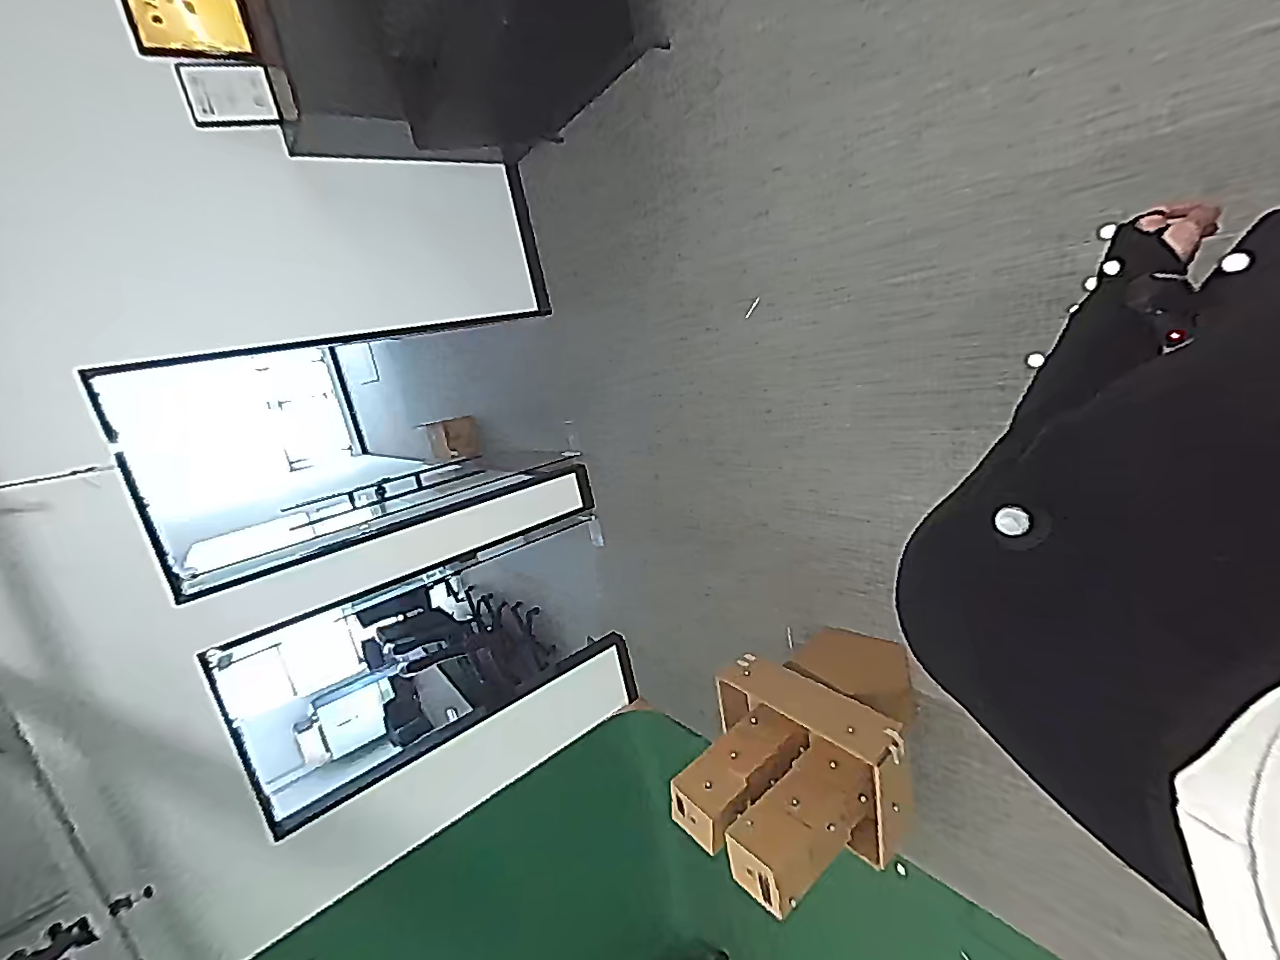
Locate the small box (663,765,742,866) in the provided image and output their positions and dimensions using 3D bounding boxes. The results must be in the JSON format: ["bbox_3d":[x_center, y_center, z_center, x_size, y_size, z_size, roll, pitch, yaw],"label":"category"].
[{"bbox_3d":[0.192,1.025,1.675,0.179,0.176,0.168,20,121,45],"label":"small box"}]

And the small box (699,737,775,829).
[{"bbox_3d":[0.319,0.978,1.768,0.179,0.176,0.168,7,111,50],"label":"small box"}]

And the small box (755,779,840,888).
[{"bbox_3d":[0.467,1.020,1.581,0.179,0.176,0.168,7,110,53],"label":"small box"}]

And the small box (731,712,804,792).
[{"bbox_3d":[0.440,0.934,1.864,0.179,0.176,0.168,9,113,51],"label":"small box"}]
